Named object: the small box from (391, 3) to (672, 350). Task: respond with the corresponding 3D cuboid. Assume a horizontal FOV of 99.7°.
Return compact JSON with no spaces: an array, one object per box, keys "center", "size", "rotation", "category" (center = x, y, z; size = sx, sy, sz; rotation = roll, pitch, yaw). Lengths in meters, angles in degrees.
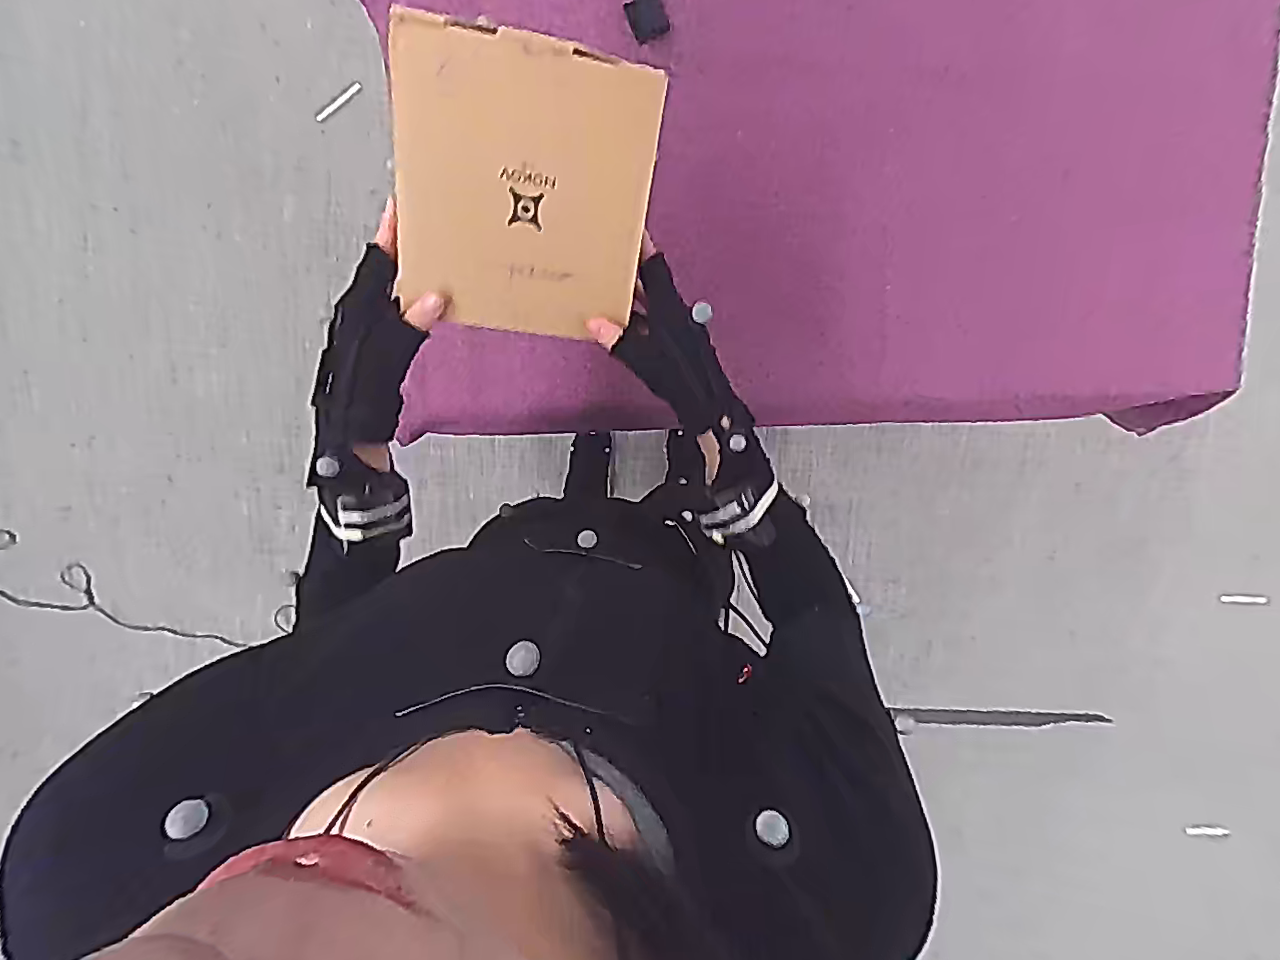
[{"center":[-0.086,-0.220,0.420],"size":[0.168,0.176,0.179],"rotation":[5,120,-12],"category":"small box"}]
